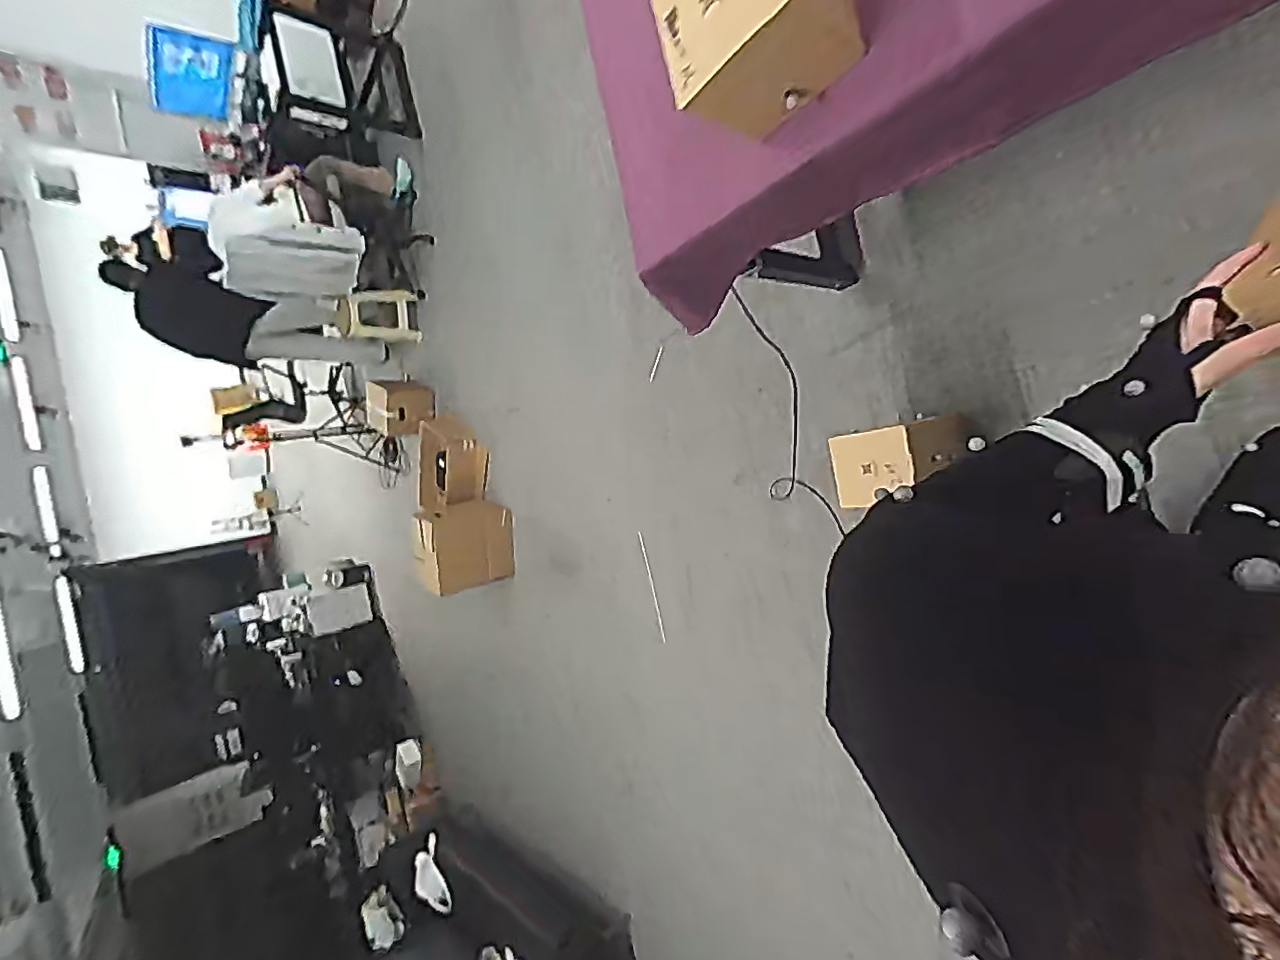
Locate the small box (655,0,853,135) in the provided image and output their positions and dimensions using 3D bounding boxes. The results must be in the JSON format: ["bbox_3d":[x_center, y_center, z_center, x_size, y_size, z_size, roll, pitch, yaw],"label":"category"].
[{"bbox_3d":[0.149,-0.586,0.688,0.179,0.176,0.168,-15,87,48],"label":"small box"}]
